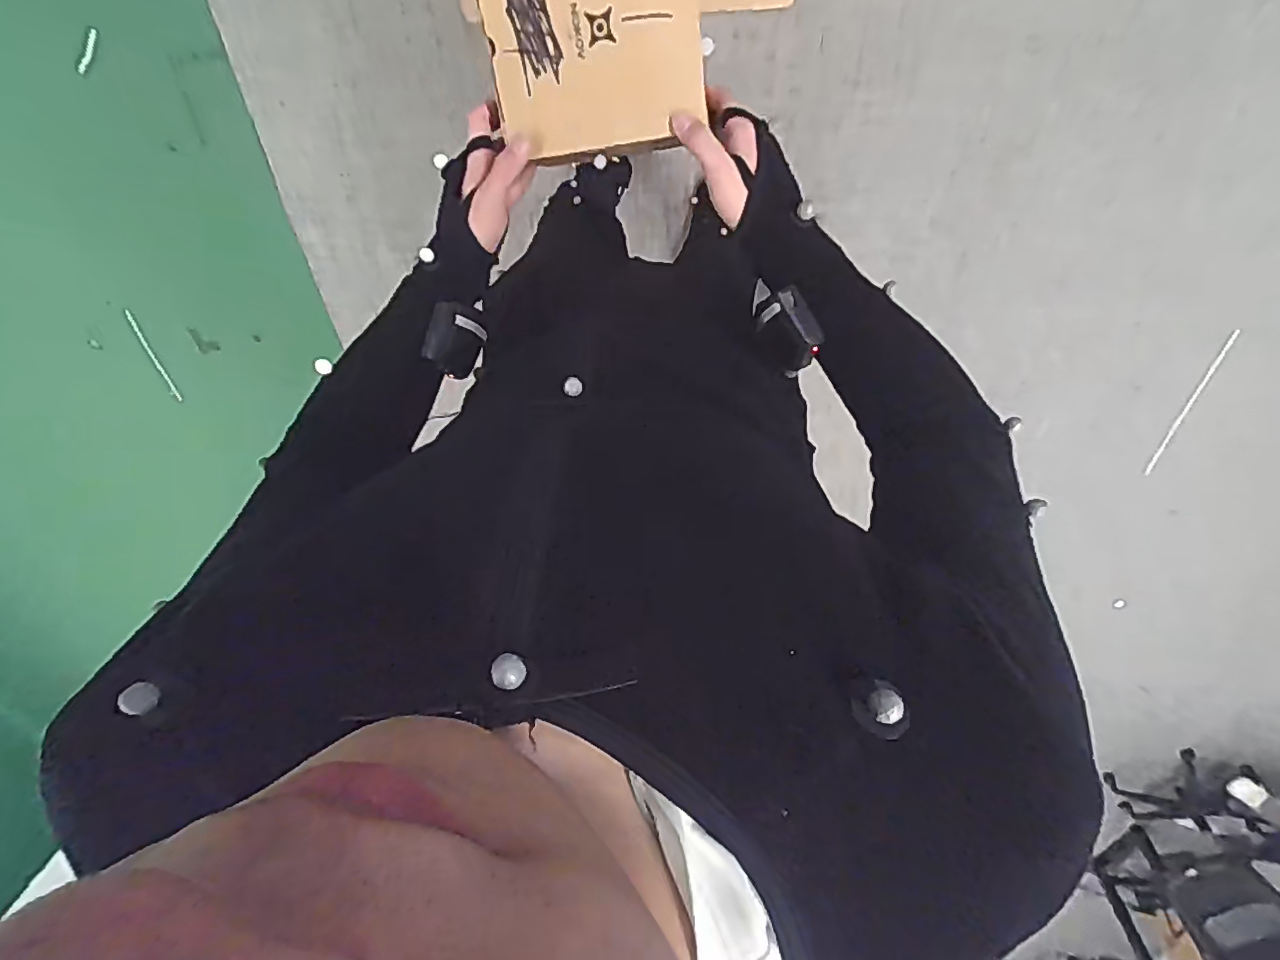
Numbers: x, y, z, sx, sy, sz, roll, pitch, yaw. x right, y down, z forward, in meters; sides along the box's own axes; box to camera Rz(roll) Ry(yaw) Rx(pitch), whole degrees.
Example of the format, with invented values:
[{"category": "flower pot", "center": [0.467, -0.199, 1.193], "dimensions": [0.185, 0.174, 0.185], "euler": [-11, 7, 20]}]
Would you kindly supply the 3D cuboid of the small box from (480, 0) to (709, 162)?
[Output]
[{"category": "small box", "center": [-0.031, -0.399, 0.496], "dimensions": [0.179, 0.176, 0.168], "euler": [-5, 118, 6]}]
